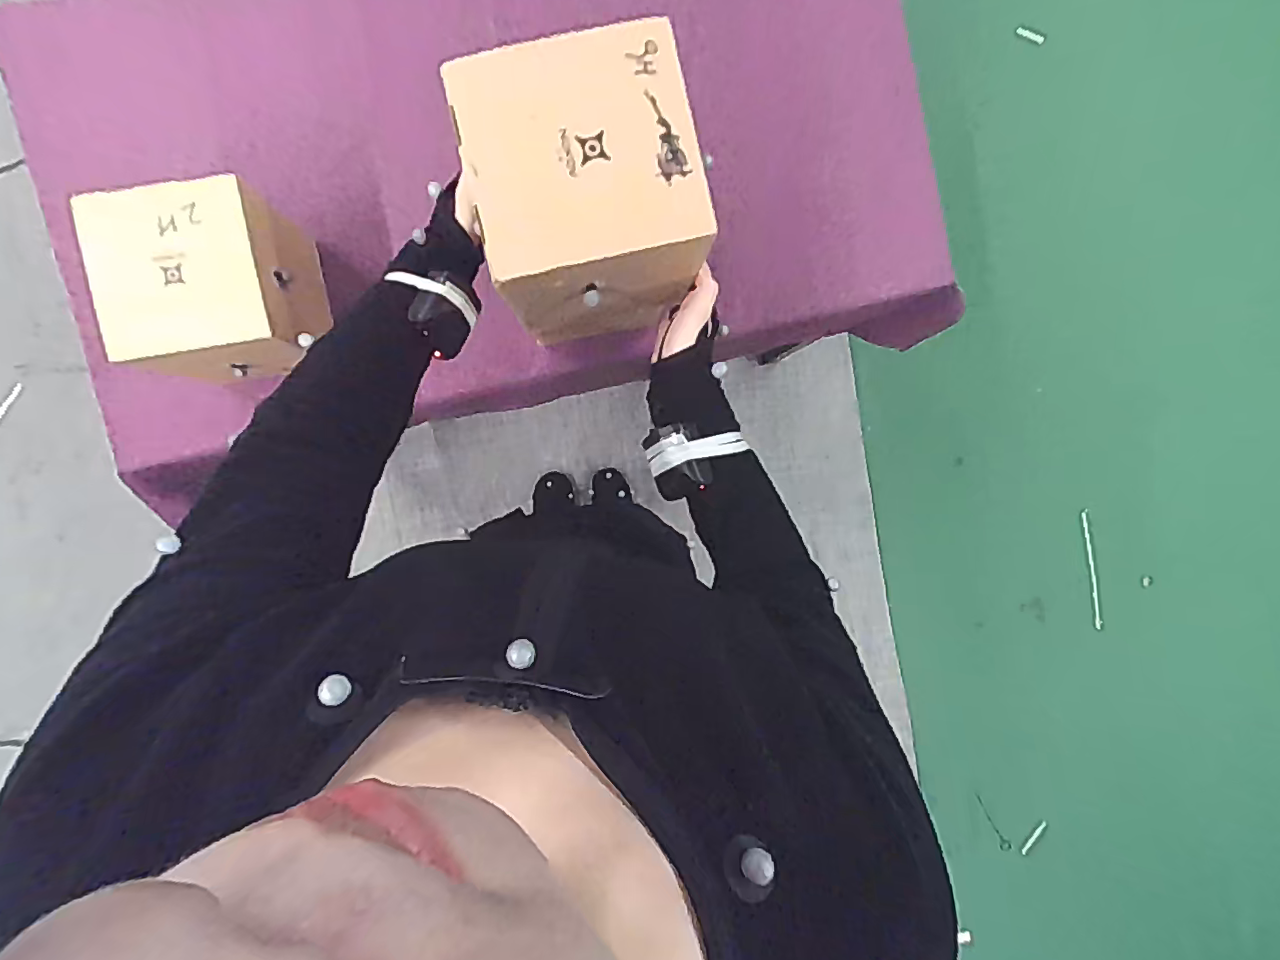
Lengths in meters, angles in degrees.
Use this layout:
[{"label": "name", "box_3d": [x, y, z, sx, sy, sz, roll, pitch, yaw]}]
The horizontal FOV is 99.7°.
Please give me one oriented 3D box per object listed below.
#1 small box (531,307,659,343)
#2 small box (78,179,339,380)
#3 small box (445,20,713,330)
[{"label": "small box", "box_3d": [-0.069, -0.281, 0.683, 0.179, 0.176, 0.168, -12, 93, -5]}, {"label": "small box", "box_3d": [-0.491, -0.222, 0.647, 0.168, 0.176, 0.179, -11, 93, -5]}, {"label": "small box", "box_3d": [-0.045, -0.246, 0.482, 0.179, 0.176, 0.168, -13, 93, -1]}]
